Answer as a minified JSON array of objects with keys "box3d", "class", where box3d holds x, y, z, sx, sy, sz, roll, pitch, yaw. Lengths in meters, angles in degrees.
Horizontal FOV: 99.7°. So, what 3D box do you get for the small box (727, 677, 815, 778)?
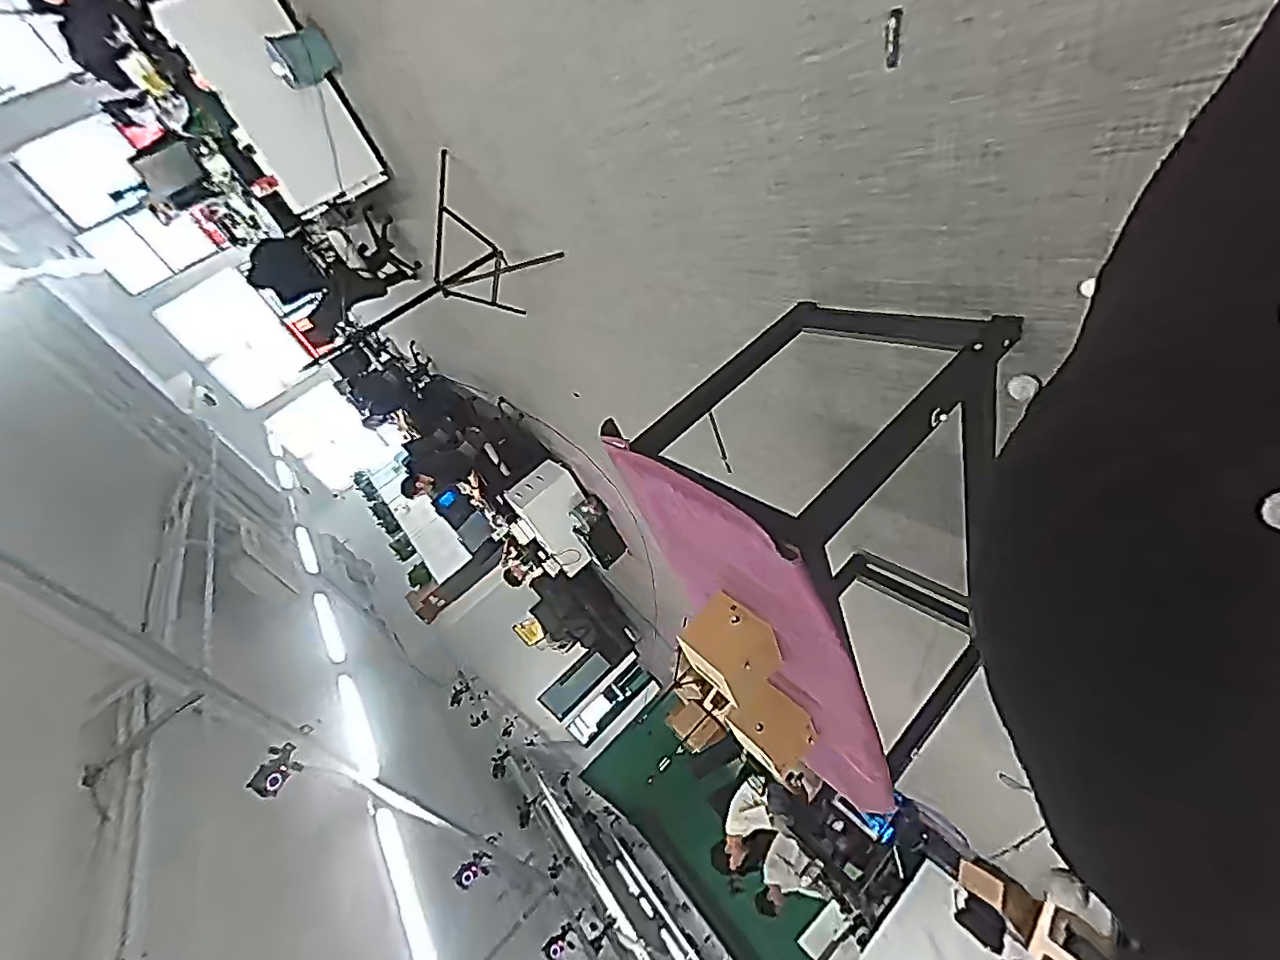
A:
[{"box3d":[0.390,0.717,1.580,0.179,0.176,0.168,29,153,48],"class":"small box"}]
